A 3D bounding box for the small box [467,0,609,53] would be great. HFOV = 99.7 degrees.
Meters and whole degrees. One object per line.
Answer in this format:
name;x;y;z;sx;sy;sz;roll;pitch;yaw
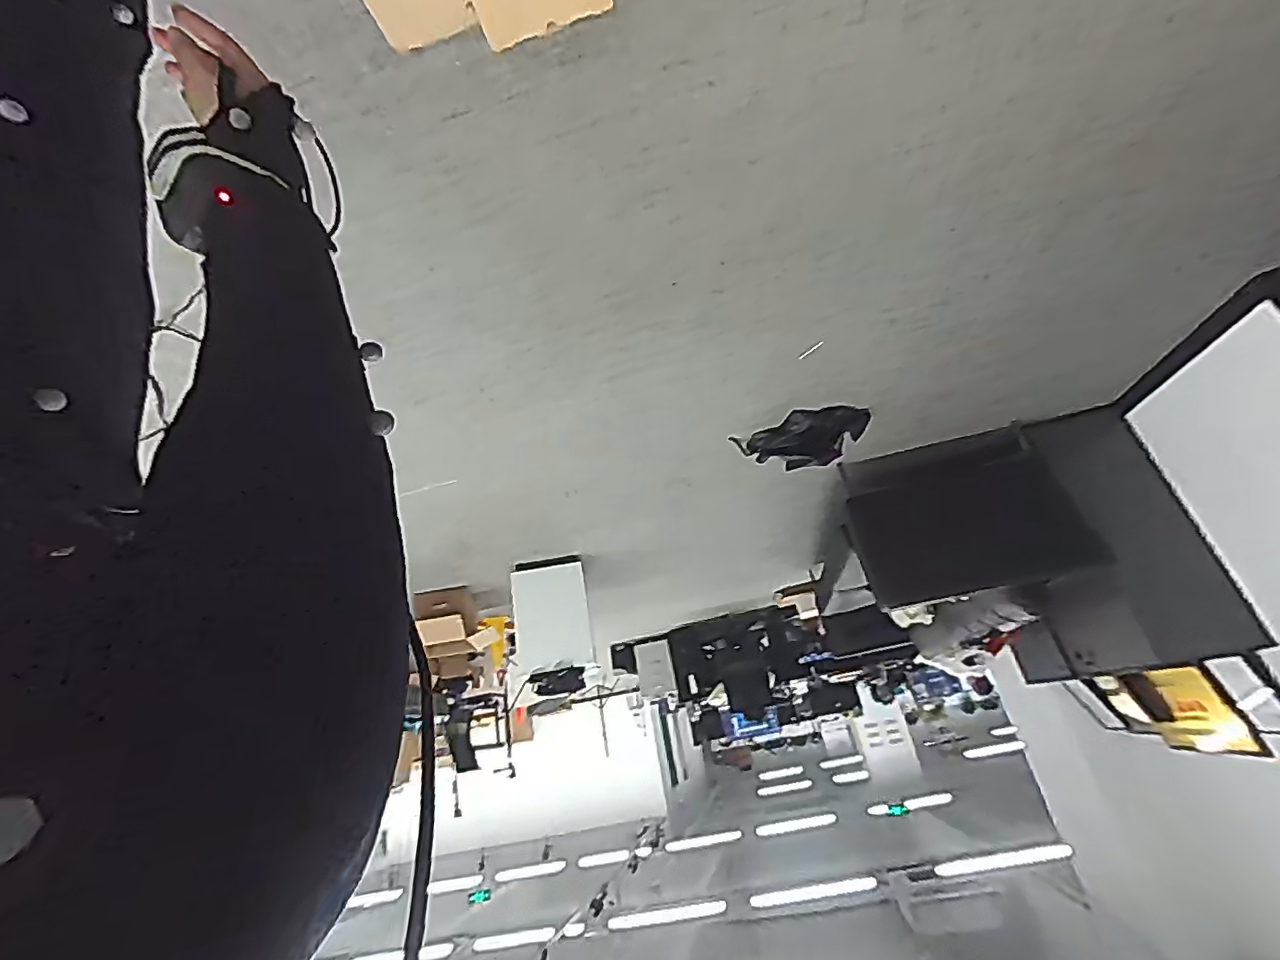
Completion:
small box;-0.148;-0.667;0.636;0.168;0.176;0.179;-15;155;7
